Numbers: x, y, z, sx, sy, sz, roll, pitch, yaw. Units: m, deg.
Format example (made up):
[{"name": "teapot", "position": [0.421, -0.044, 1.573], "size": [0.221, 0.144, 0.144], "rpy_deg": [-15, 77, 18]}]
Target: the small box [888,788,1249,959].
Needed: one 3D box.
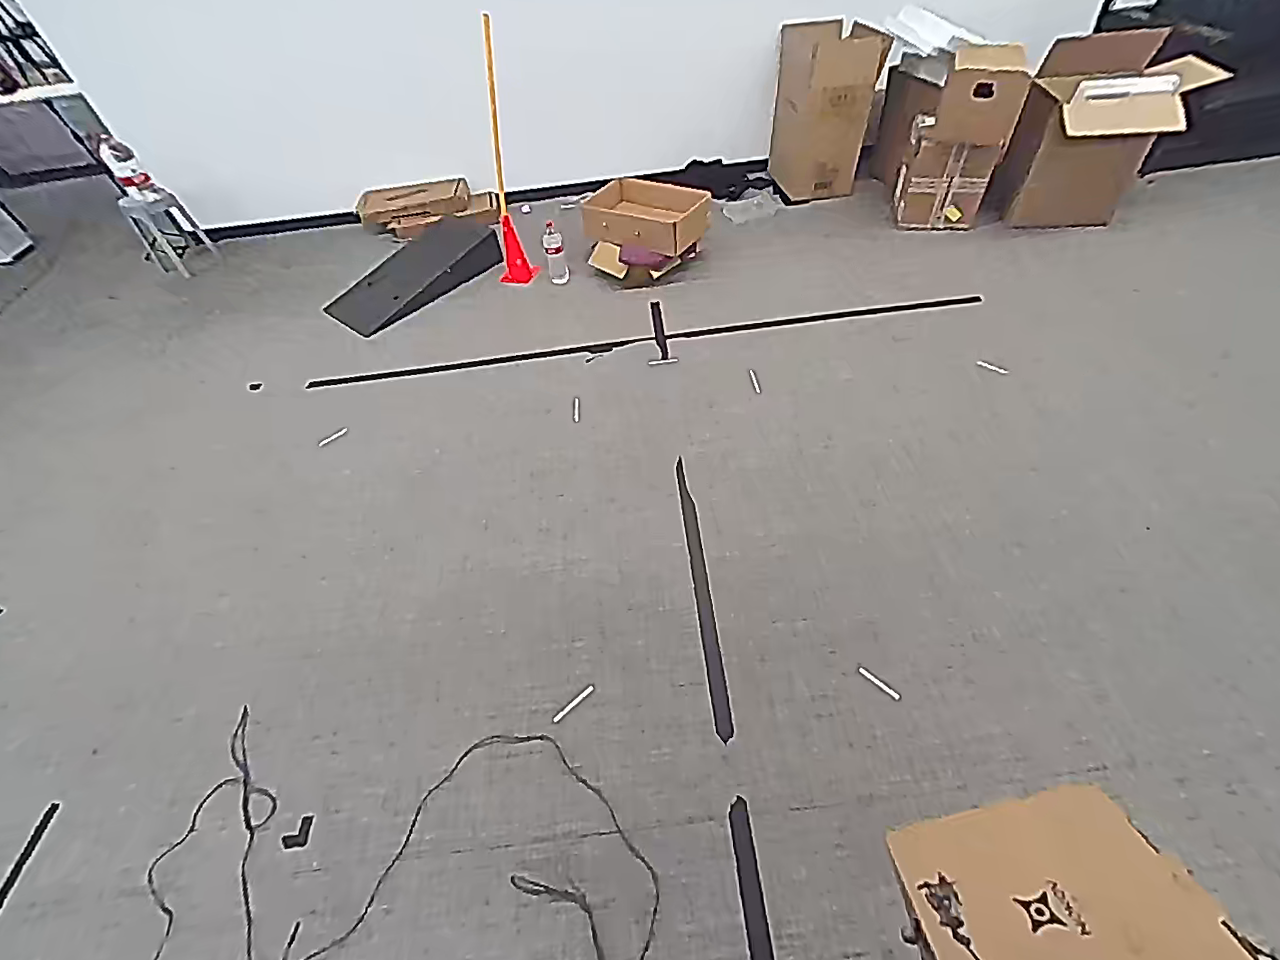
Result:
[{"name": "small box", "position": [0.317, 0.376, 0.402], "size": [0.179, 0.176, 0.168], "rpy_deg": [-18, 14, 8]}]
